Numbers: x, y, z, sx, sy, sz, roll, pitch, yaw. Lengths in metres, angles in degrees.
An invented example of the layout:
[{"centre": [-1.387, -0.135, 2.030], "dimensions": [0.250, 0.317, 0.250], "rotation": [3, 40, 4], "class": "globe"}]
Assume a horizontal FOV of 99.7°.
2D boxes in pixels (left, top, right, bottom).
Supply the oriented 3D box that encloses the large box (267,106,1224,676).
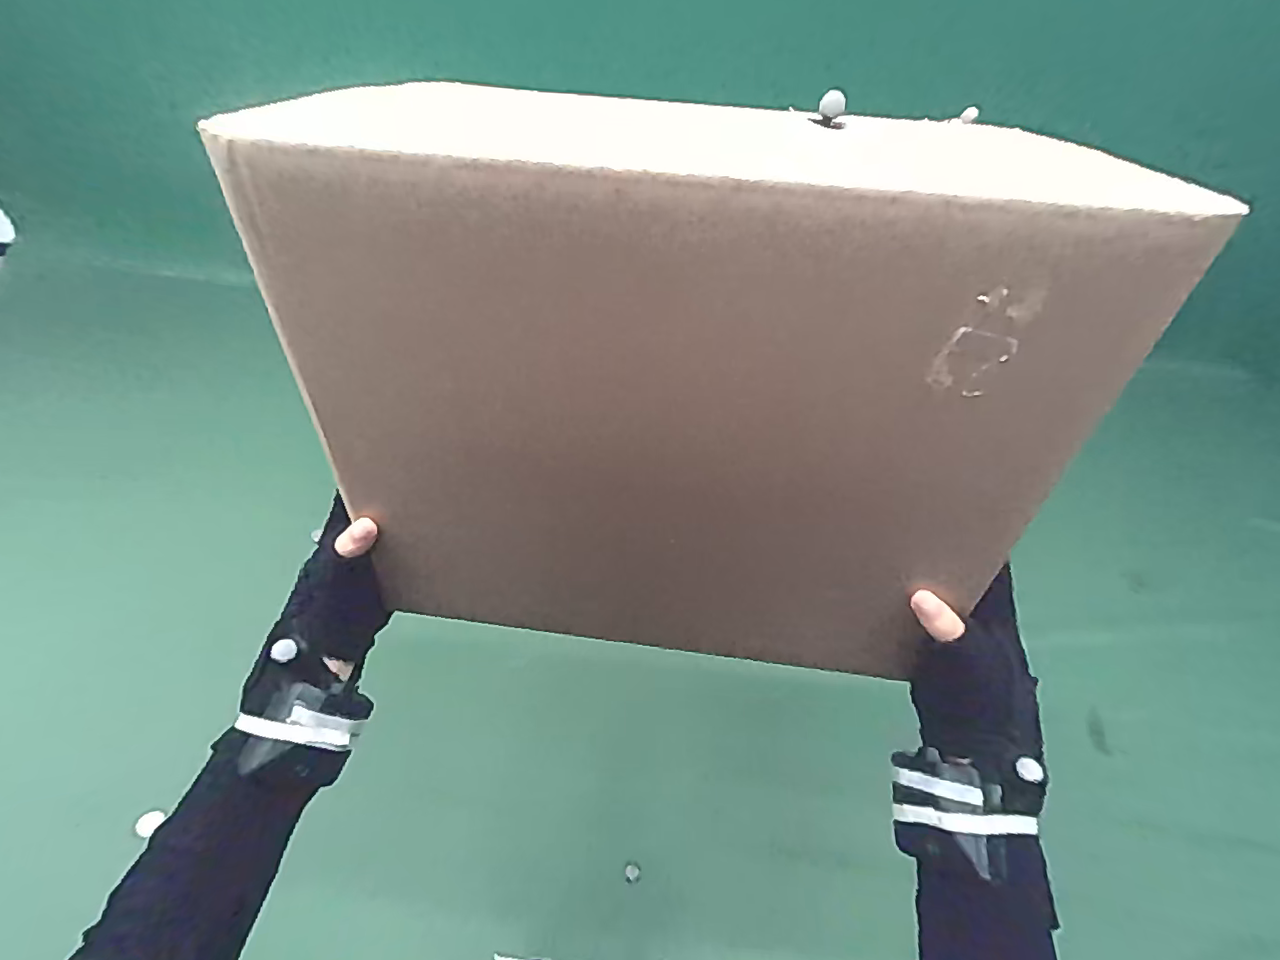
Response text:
[{"centre": [0.040, -0.084, 0.427], "dimensions": [0.408, 0.320, 0.320], "rotation": [8, 39, 2], "class": "large box"}]
